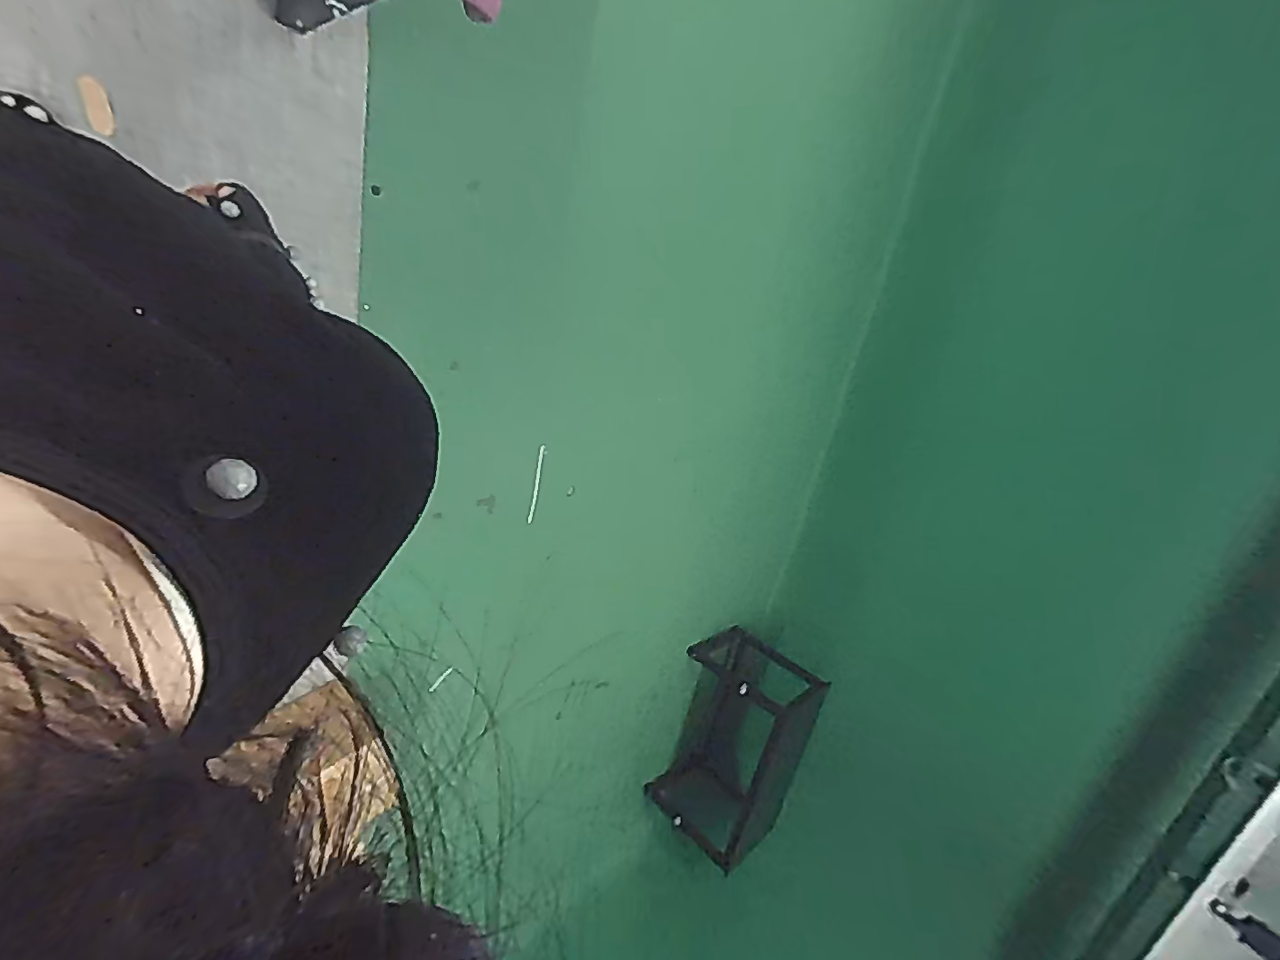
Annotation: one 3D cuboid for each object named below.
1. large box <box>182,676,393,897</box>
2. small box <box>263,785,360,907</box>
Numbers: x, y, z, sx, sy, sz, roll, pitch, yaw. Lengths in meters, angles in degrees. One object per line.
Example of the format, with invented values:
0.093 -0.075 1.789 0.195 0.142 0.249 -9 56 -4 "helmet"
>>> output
-1.016 0.870 1.590 0.408 0.320 0.320 -26 130 -41 "large box"
-0.856 0.938 1.409 0.168 0.176 0.179 -18 123 -42 "small box"
